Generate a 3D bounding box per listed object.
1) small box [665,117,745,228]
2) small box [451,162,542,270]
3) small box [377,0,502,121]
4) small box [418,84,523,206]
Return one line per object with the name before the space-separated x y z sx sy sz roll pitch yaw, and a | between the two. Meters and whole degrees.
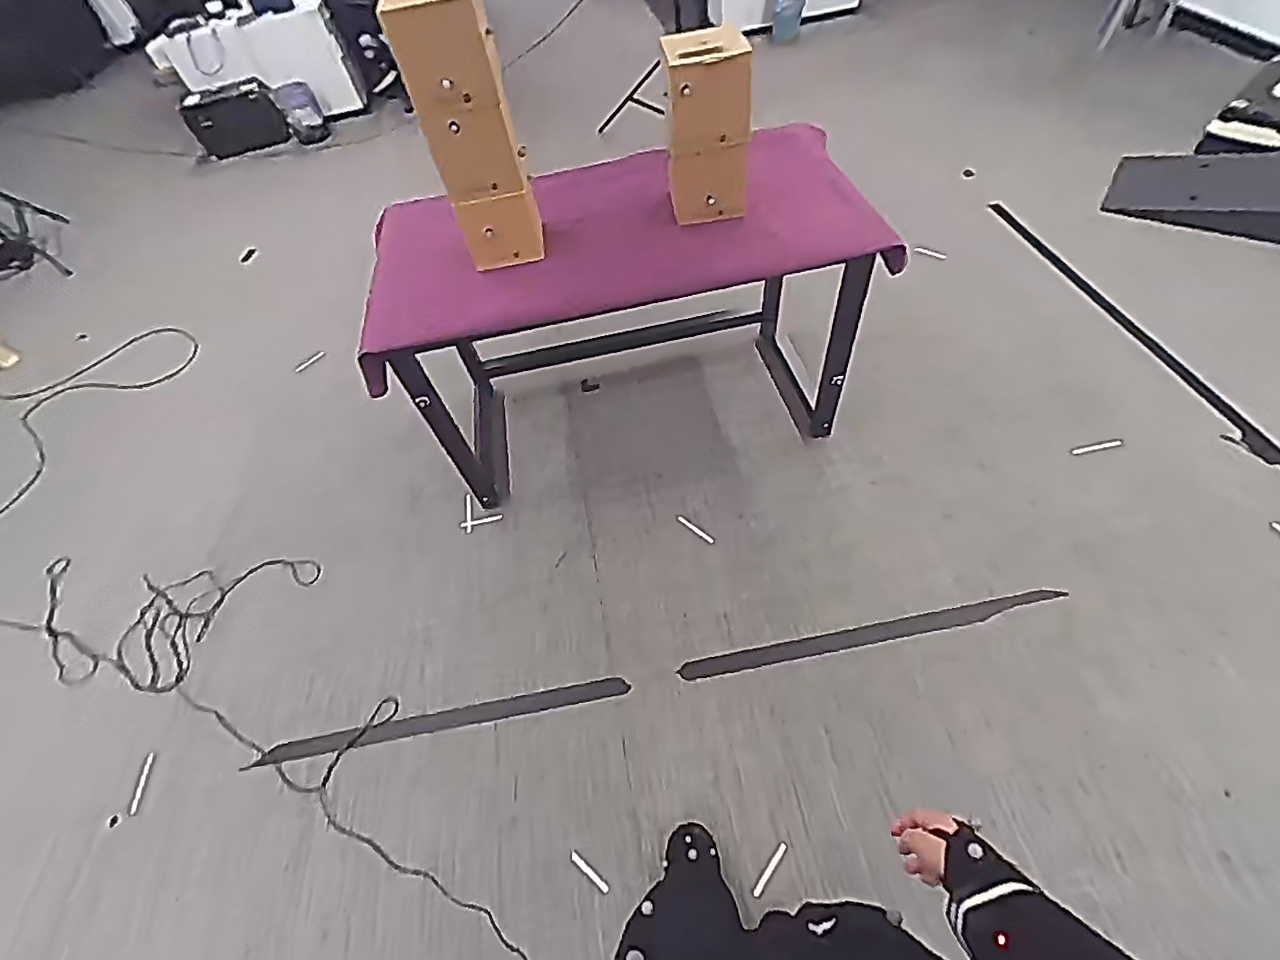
small box | 0.154 -0.740 1.306 0.168 0.176 0.179 -8 54 3
small box | -0.336 -0.623 1.292 0.168 0.176 0.179 -11 54 0
small box | -0.369 -0.816 1.028 0.168 0.176 0.179 -11 55 0
small box | -0.355 -0.722 1.163 0.168 0.176 0.179 -12 53 0
